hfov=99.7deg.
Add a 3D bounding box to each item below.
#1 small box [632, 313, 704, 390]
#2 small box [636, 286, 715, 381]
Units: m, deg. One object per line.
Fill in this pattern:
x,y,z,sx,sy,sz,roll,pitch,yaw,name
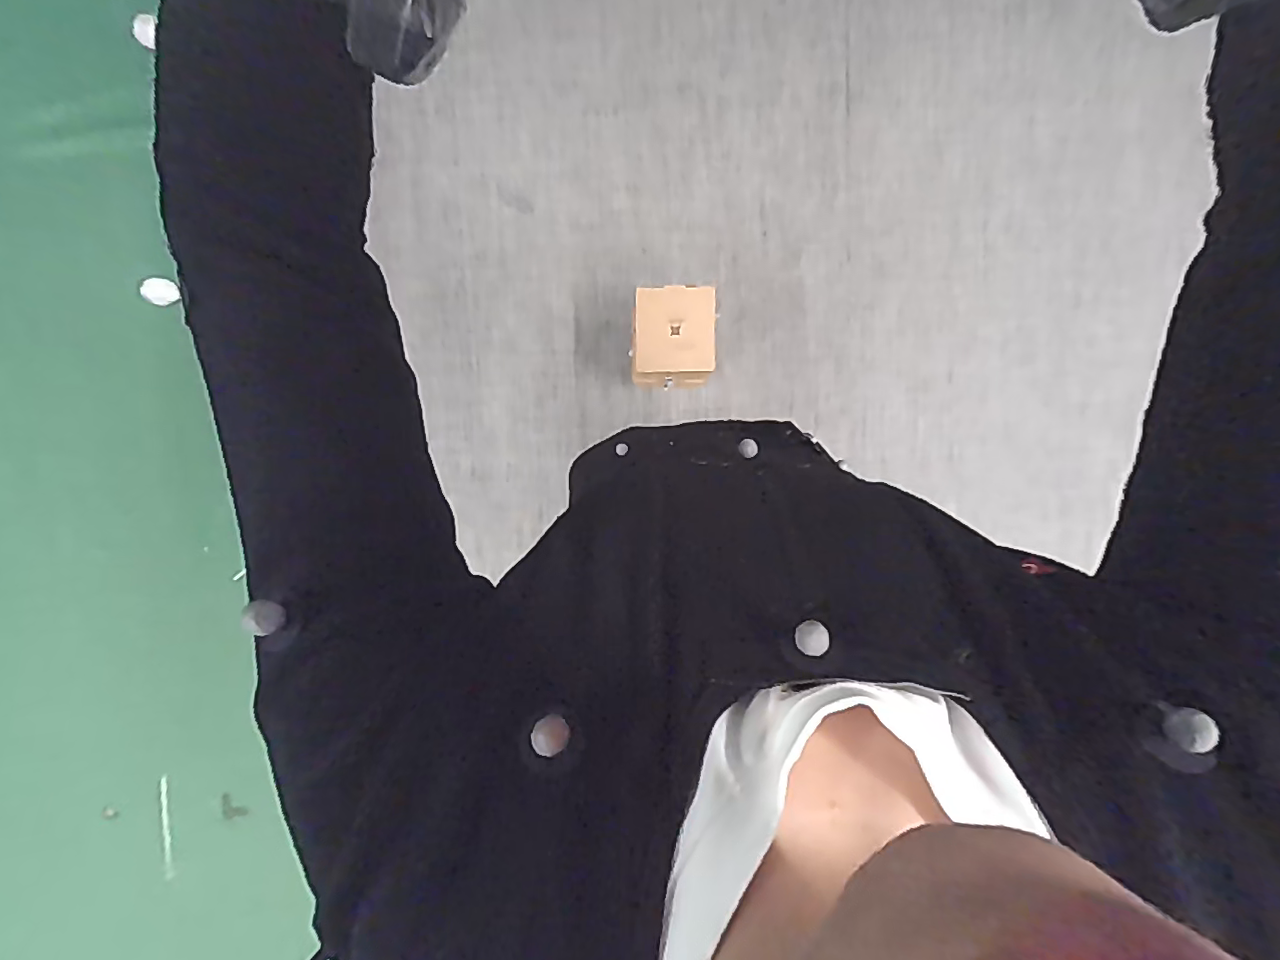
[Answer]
0.072,-0.320,1.363,0.179,0.176,0.168,1,93,4,small box
0.079,-0.319,1.202,0.168,0.176,0.179,0,94,4,small box
